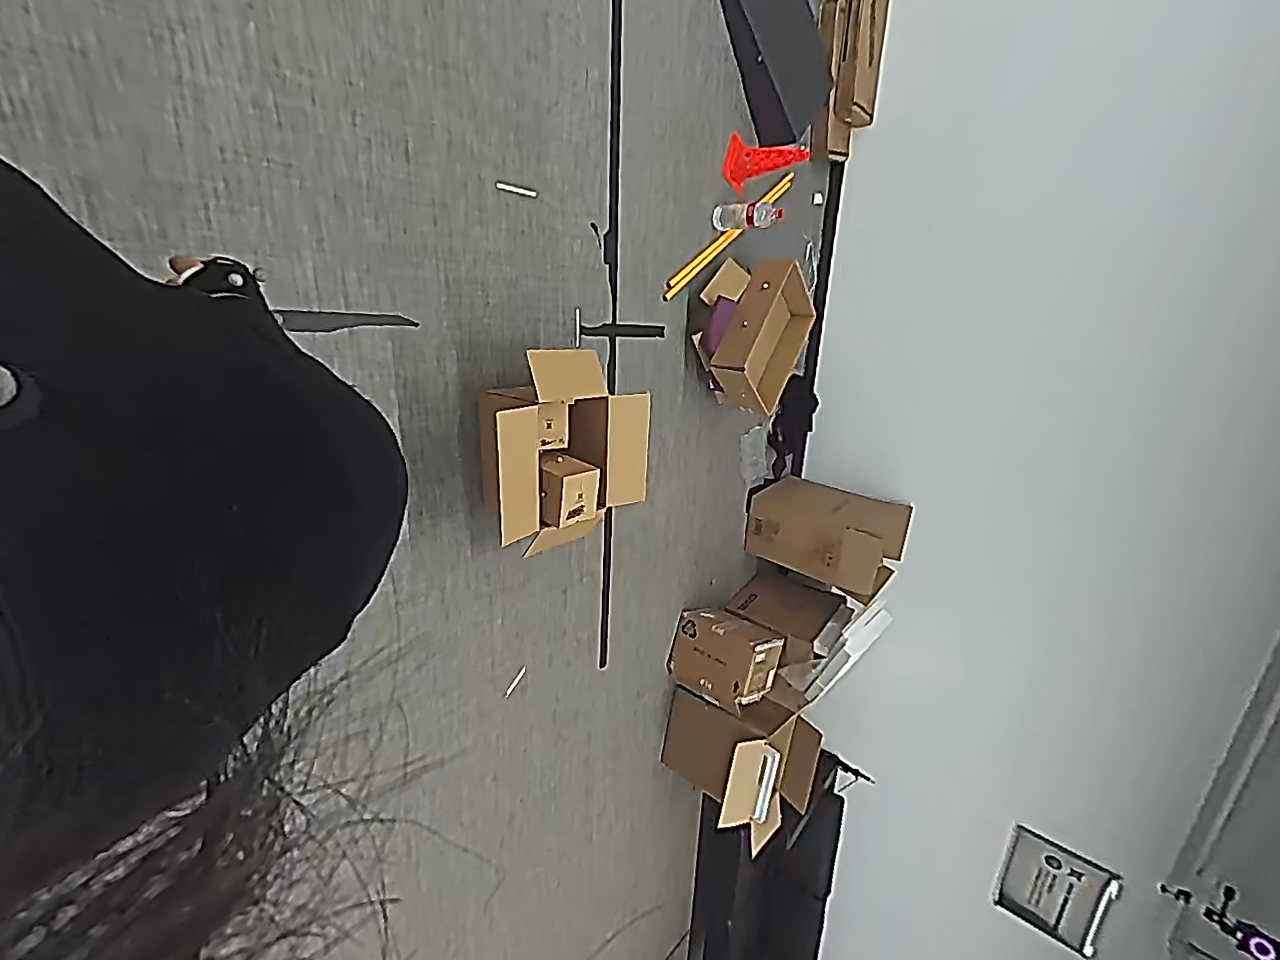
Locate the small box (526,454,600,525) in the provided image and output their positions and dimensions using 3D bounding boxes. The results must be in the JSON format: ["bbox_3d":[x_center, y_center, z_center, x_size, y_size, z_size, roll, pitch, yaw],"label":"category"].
[{"bbox_3d":[-0.256,0.026,1.773,0.168,0.176,0.179,-15,119,-49],"label":"small box"}]
